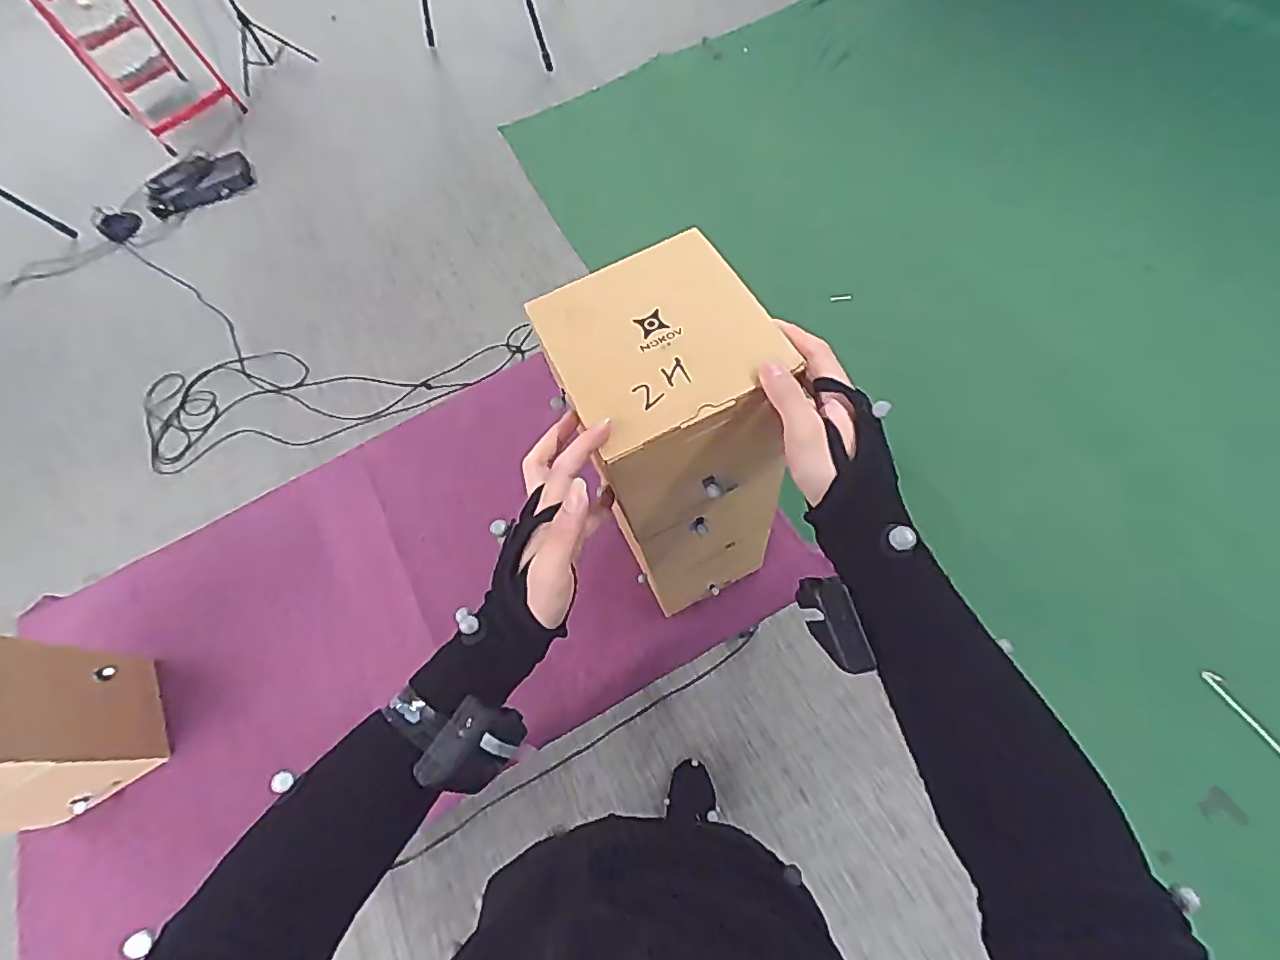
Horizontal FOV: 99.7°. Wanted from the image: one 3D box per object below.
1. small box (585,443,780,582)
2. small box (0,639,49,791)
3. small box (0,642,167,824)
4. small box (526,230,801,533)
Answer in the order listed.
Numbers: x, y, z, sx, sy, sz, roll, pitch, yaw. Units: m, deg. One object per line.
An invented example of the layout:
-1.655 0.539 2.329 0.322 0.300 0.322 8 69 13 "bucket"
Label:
0.043 -0.006 0.641 0.168 0.176 0.179 -27 64 -4 "small box"
-0.843 0.287 0.615 0.168 0.176 0.179 -32 65 -8 "small box"
-0.825 0.358 0.761 0.168 0.176 0.179 -32 66 -8 "small box"
0.020 -0.080 0.494 0.168 0.176 0.179 -26 63 -4 "small box"
